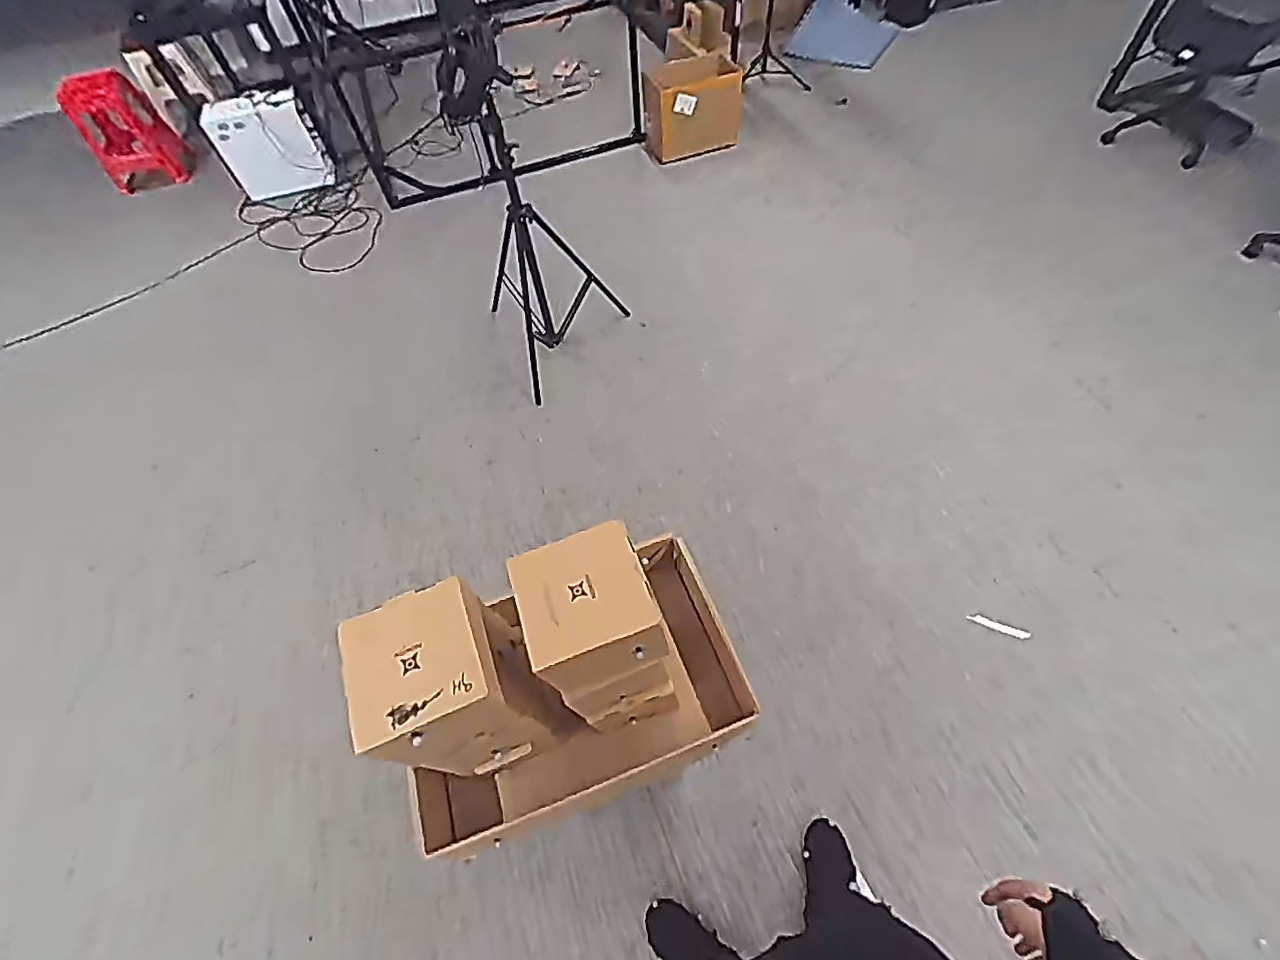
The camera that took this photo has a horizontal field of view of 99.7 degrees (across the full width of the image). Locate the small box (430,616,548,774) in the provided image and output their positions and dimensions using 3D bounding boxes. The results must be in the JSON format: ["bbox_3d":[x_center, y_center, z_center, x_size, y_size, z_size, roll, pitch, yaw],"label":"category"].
[{"bbox_3d":[-0.267,0.358,0.892,0.168,0.176,0.179,-22,59,-9],"label":"small box"}]

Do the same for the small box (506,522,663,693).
[{"bbox_3d":[-0.072,0.191,0.789,0.179,0.176,0.168,-20,58,-4],"label":"small box"}]

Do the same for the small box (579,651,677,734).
[{"bbox_3d":[-0.033,0.374,1.057,0.168,0.176,0.179,-19,59,-4],"label":"small box"}]

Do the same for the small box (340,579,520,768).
[{"bbox_3d":[-0.285,0.272,0.751,0.168,0.176,0.179,-23,58,-8],"label":"small box"}]
